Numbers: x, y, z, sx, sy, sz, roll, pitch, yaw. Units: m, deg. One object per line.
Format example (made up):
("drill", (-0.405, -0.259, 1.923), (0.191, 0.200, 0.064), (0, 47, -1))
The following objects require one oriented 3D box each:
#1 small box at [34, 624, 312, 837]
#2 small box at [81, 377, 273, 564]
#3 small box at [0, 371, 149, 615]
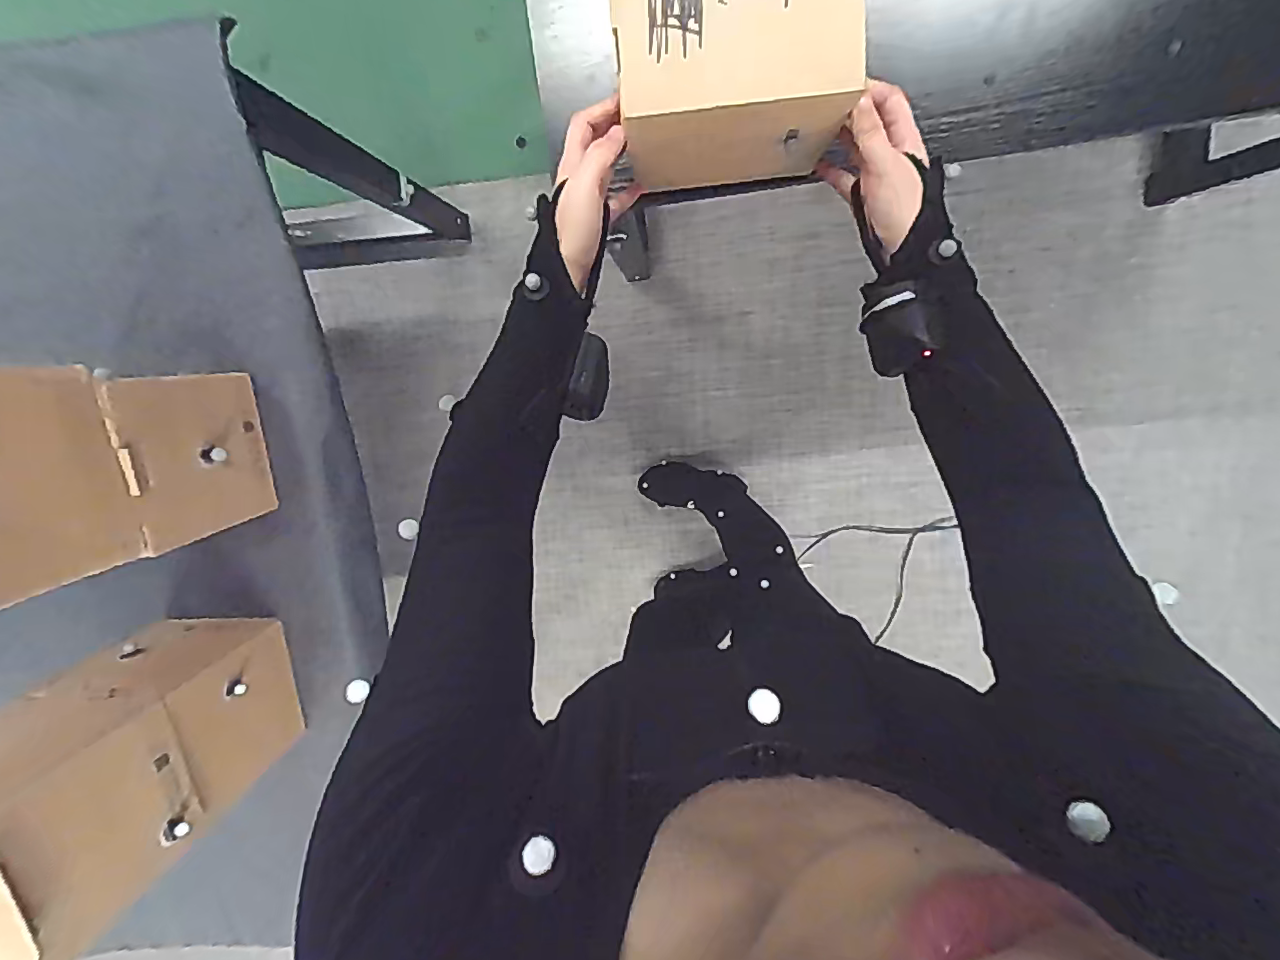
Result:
("small box", (-0.537, 0.287, 0.651), (0.168, 0.176, 0.179), (-2, 104, 7))
("small box", (-0.530, -0.019, 0.574), (0.179, 0.176, 0.168), (-2, 104, 5))
("small box", (-0.546, 0.011, 0.414), (0.168, 0.176, 0.179), (-4, 104, 6))
